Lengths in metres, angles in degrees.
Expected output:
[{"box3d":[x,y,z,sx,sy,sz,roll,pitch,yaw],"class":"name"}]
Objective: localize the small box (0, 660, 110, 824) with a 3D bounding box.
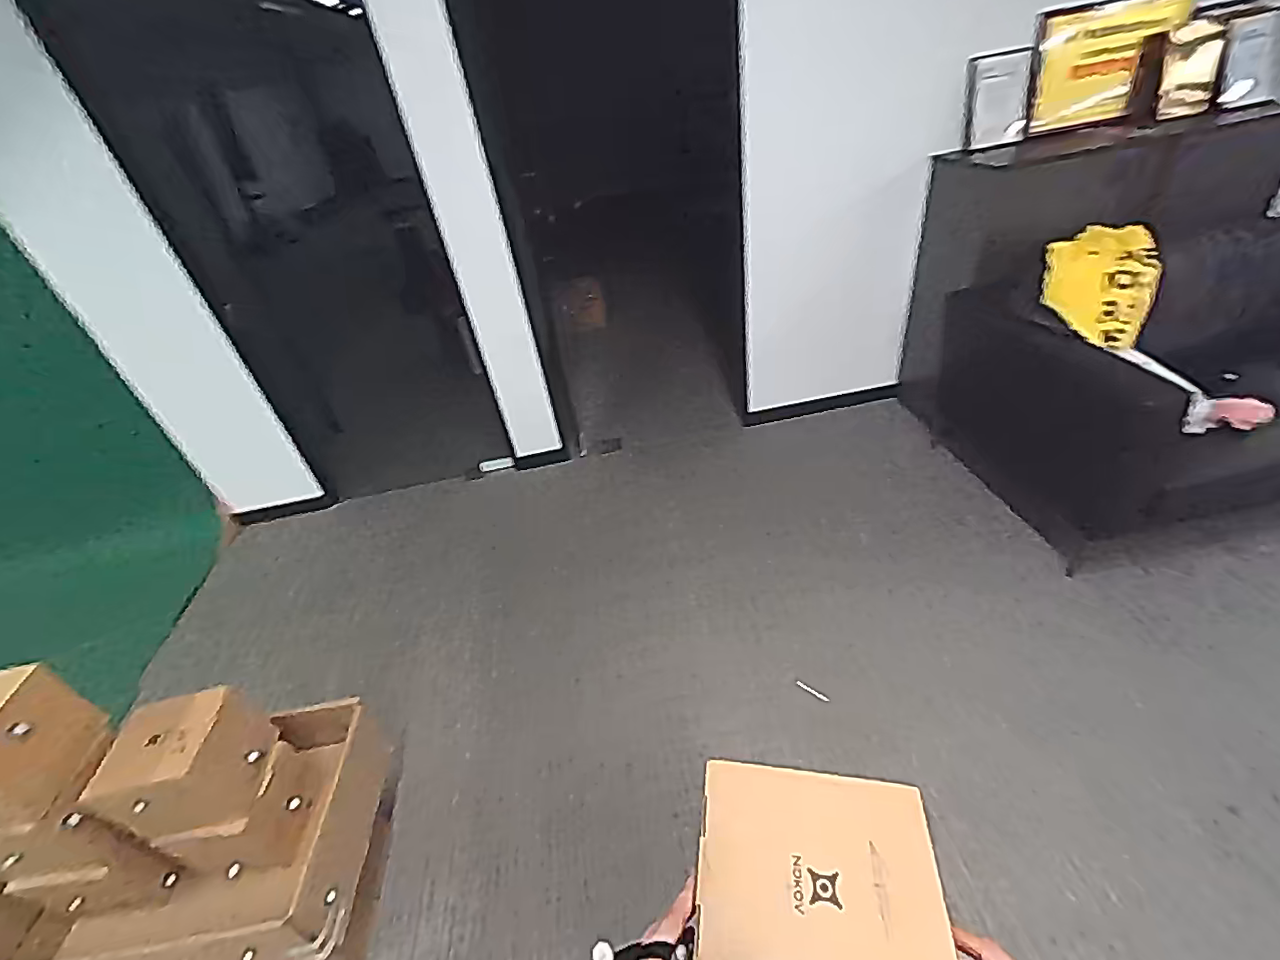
[{"box3d":[-1.022,0.423,0.865,0.168,0.176,0.179,-11,37,-2],"class":"small box"}]
